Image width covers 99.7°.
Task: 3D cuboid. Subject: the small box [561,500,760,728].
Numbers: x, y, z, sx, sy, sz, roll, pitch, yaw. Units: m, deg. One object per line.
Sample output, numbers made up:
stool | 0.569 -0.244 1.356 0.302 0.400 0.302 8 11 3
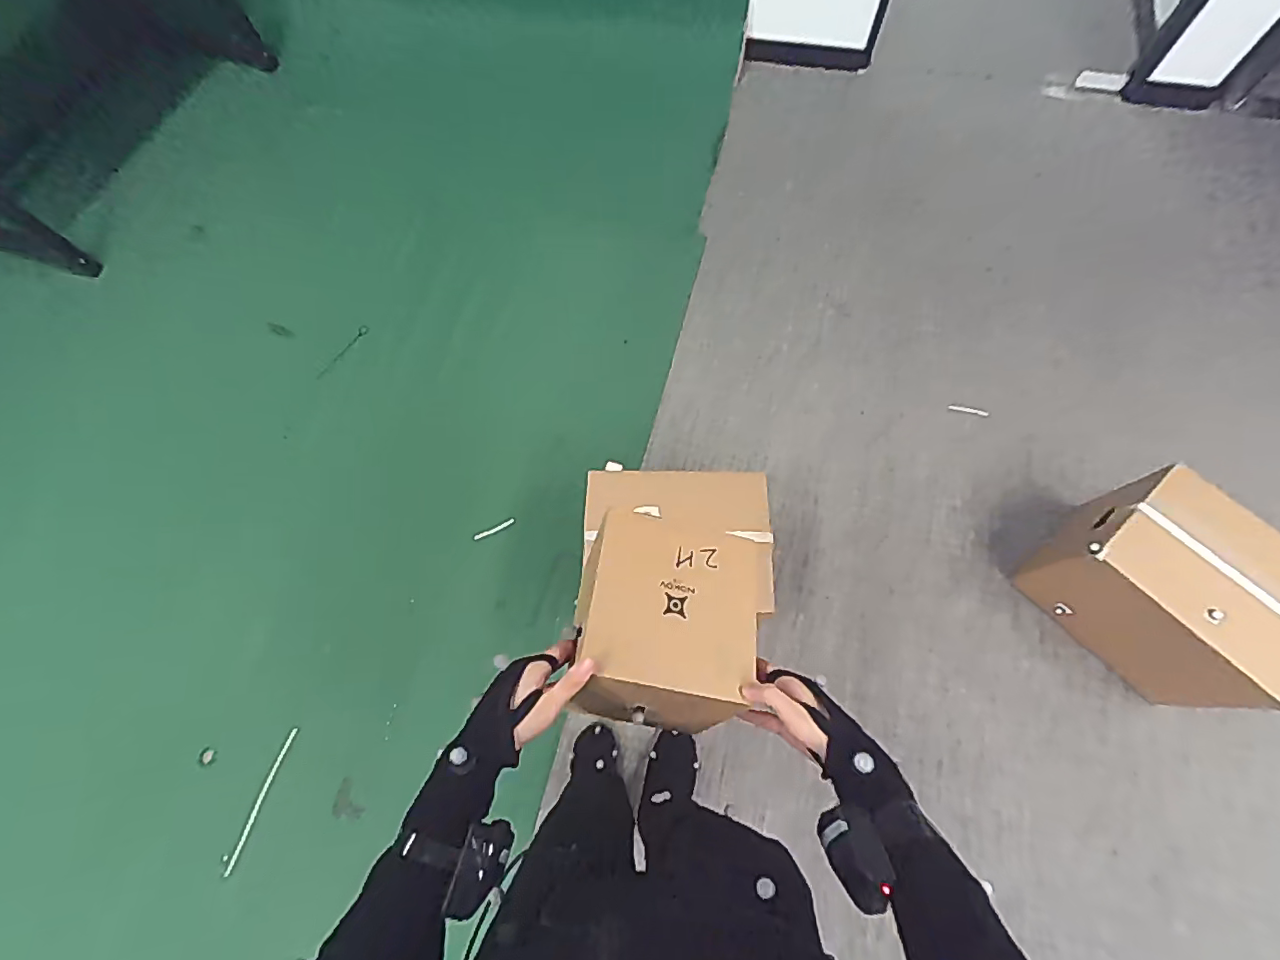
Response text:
small box | 0.017 0.153 0.587 0.168 0.176 0.179 16 53 -9

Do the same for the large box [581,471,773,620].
large box | 0.085 0.179 1.297 0.408 0.320 0.320 0 68 4
